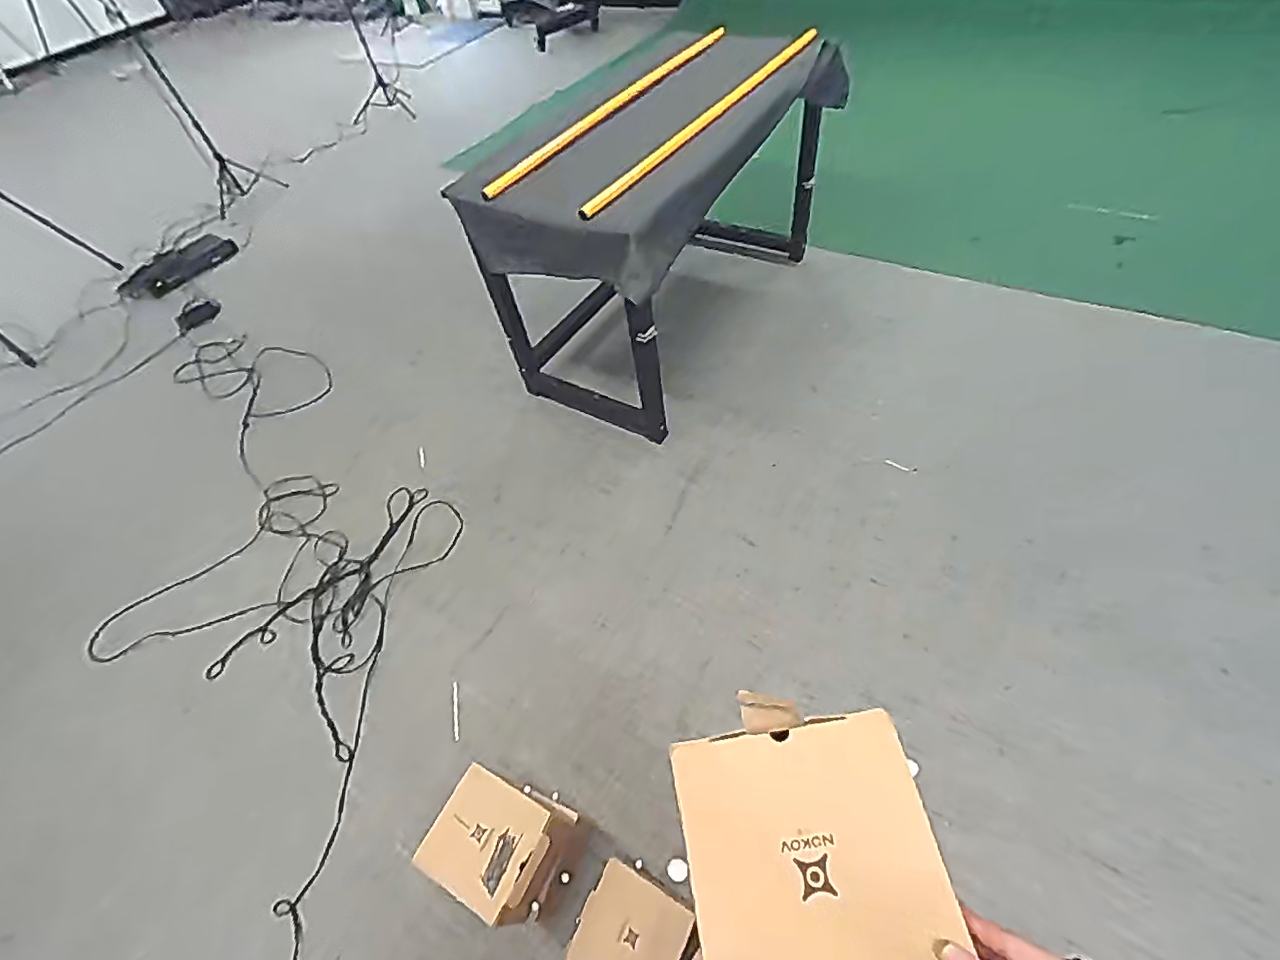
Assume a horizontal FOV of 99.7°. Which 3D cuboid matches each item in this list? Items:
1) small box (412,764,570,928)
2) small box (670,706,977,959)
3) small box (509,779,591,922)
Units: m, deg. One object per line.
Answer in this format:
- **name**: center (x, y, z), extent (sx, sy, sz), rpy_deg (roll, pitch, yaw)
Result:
- **small box**: center (-0.243, 0.626, 0.934), extent (0.179, 0.176, 0.168), rpy_deg (19, 58, 23)
- **small box**: center (0.125, 0.291, 0.420), extent (0.168, 0.176, 0.179), rpy_deg (-11, 57, 3)
- **small box**: center (-0.211, 0.725, 1.062), extent (0.168, 0.176, 0.179), rpy_deg (15, 57, 20)
